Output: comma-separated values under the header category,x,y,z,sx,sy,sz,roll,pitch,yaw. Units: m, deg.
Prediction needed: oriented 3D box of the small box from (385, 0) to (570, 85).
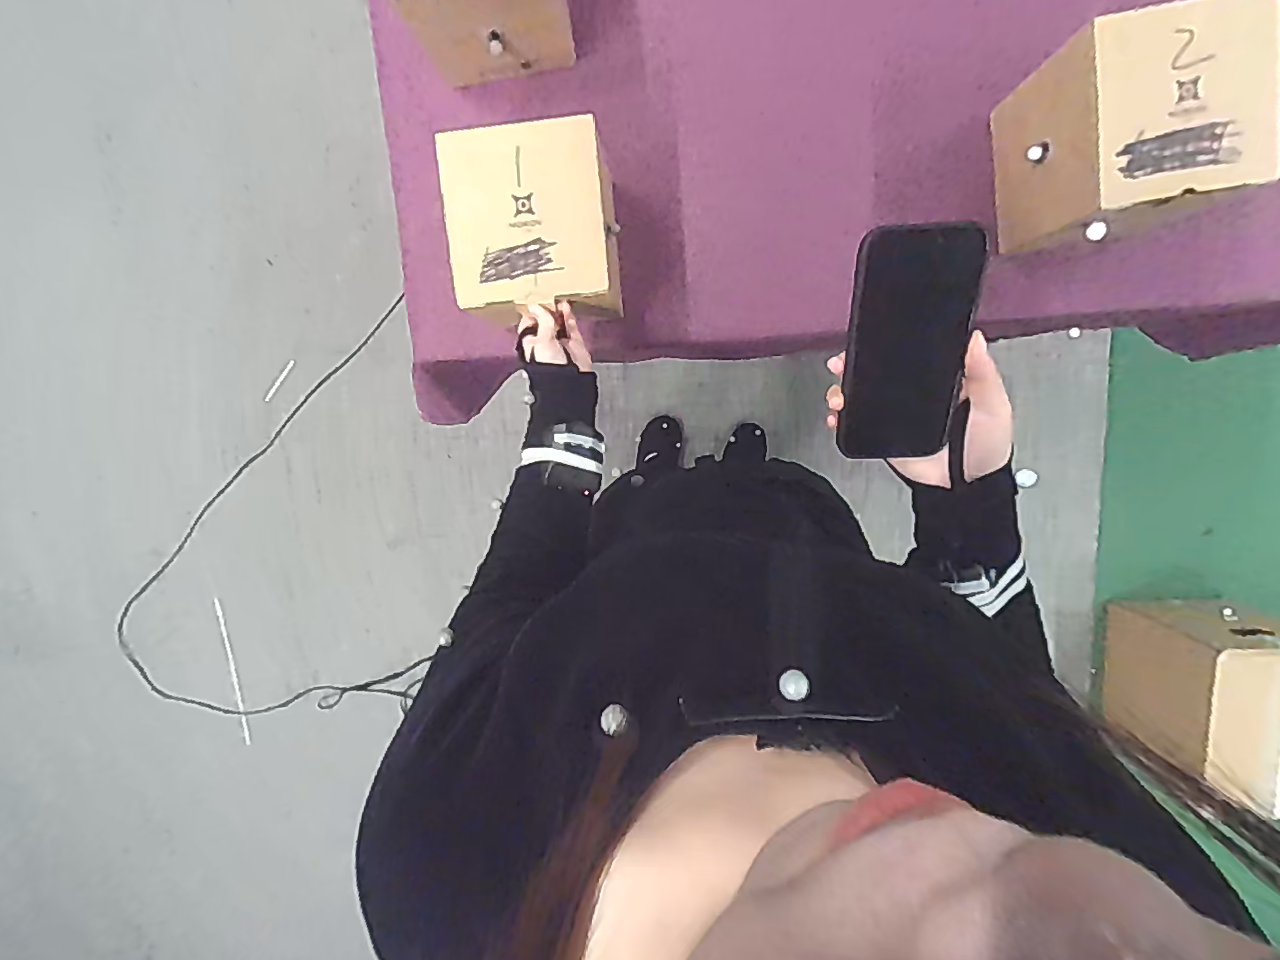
category,x,y,z,sx,sy,sz,roll,pitch,yaw
small box,-0.181,-0.577,0.601,0.168,0.176,0.179,-8,99,4

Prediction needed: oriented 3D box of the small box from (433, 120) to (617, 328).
category,x,y,z,sx,sy,sz,roll,pitch,yaw
small box,-0.121,-0.282,0.639,0.168,0.176,0.179,-5,96,4
